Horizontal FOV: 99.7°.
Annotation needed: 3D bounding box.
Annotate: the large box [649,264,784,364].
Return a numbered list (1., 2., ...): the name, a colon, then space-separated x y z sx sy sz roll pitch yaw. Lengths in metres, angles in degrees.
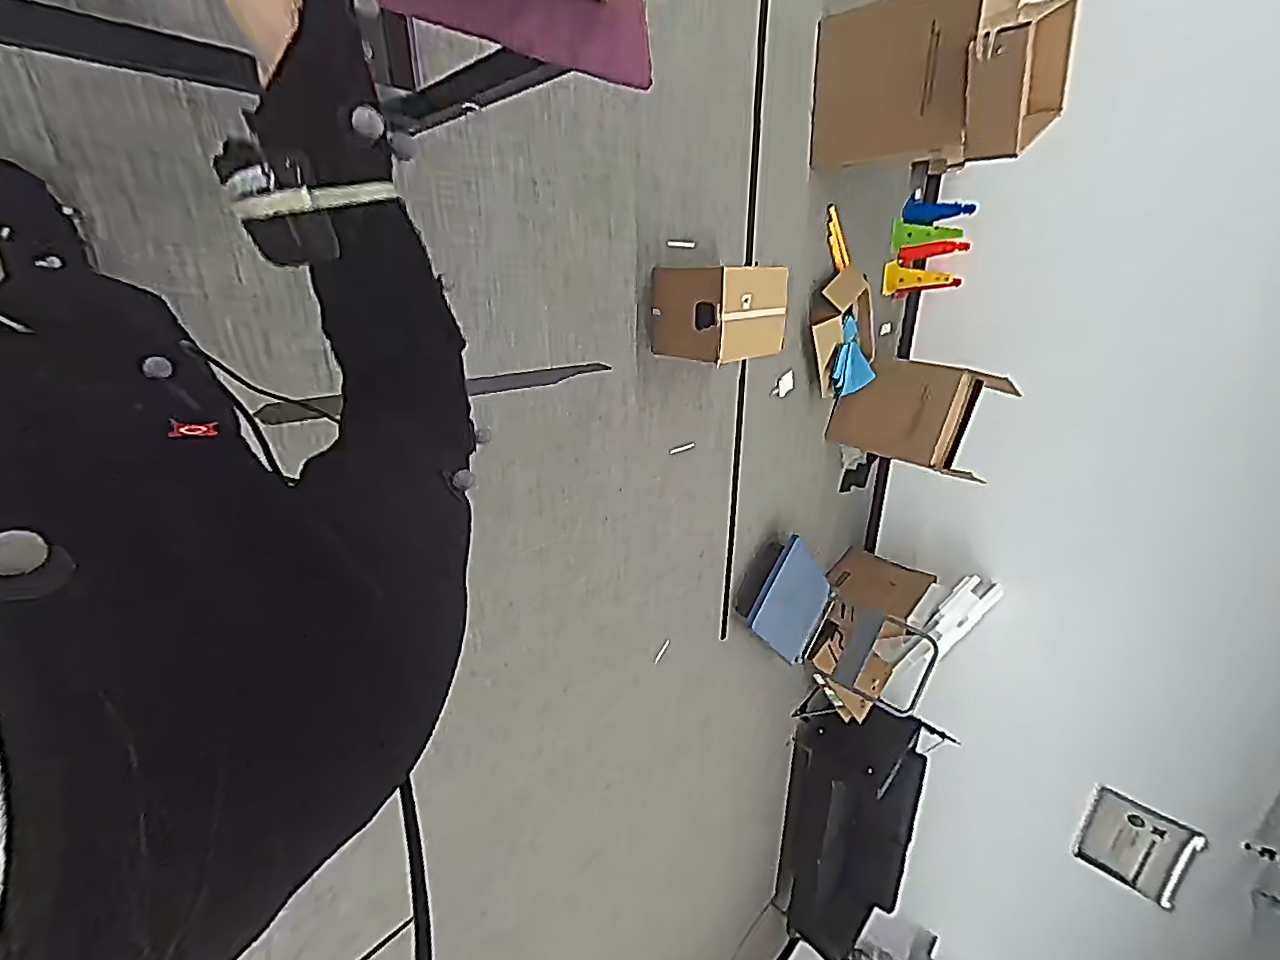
1. large box: 0.281 -0.629 1.999 0.408 0.320 0.320 -21 119 -41
